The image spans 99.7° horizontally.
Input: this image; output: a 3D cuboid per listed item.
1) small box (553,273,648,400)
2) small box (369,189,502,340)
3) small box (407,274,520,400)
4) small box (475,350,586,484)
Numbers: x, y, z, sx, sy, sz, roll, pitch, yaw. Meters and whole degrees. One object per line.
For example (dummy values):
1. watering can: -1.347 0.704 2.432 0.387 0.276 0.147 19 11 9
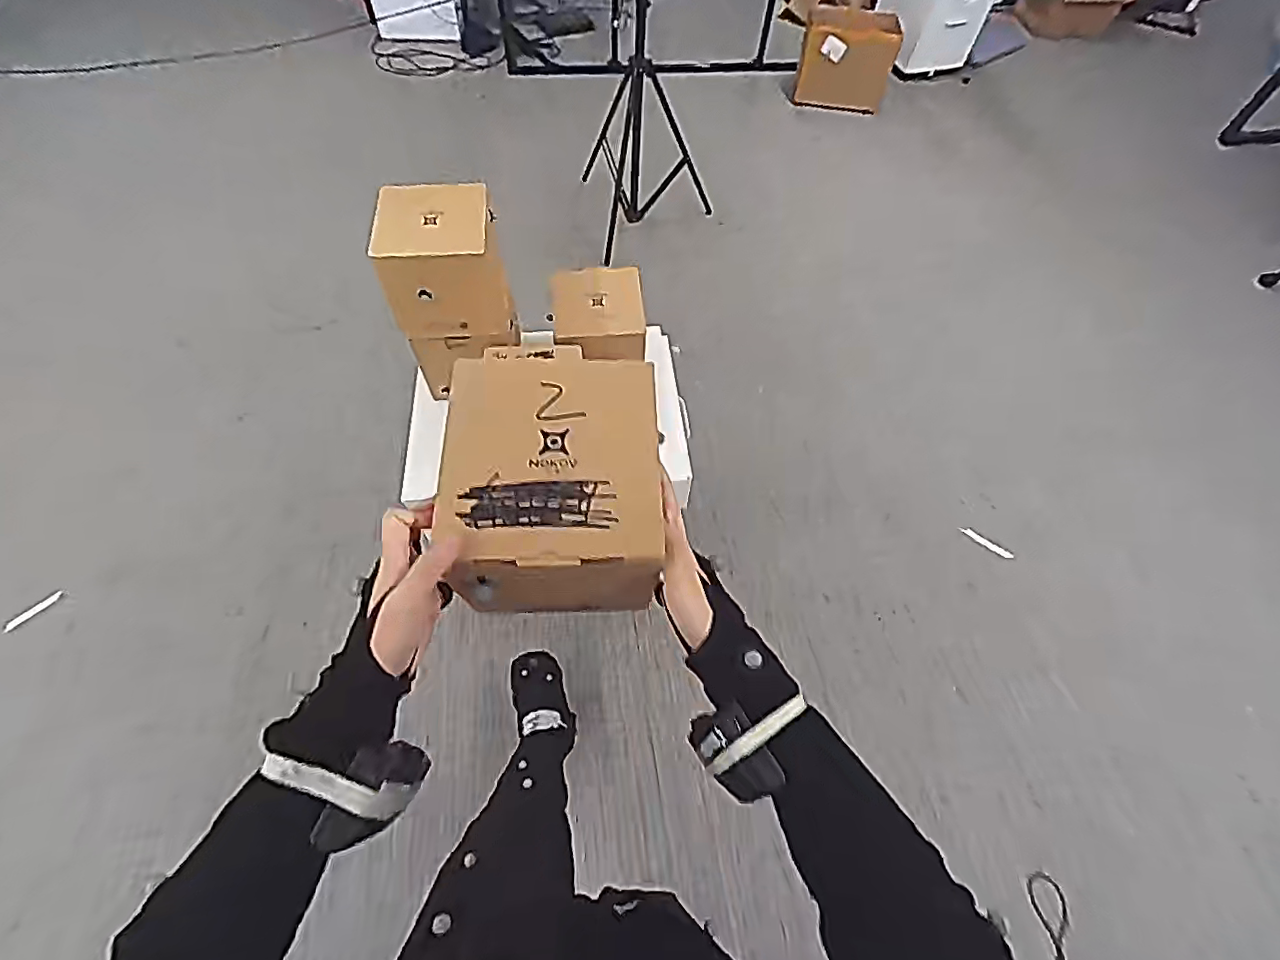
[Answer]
1. small box: -0.079 -0.275 1.051 0.168 0.176 0.179 -5 61 -5
2. small box: -0.322 -0.346 0.887 0.168 0.176 0.179 -5 60 -7
3. small box: -0.323 -0.265 1.027 0.168 0.176 0.179 -3 59 -5
4. small box: -0.179 -0.103 0.938 0.168 0.176 0.179 -2 59 -4
